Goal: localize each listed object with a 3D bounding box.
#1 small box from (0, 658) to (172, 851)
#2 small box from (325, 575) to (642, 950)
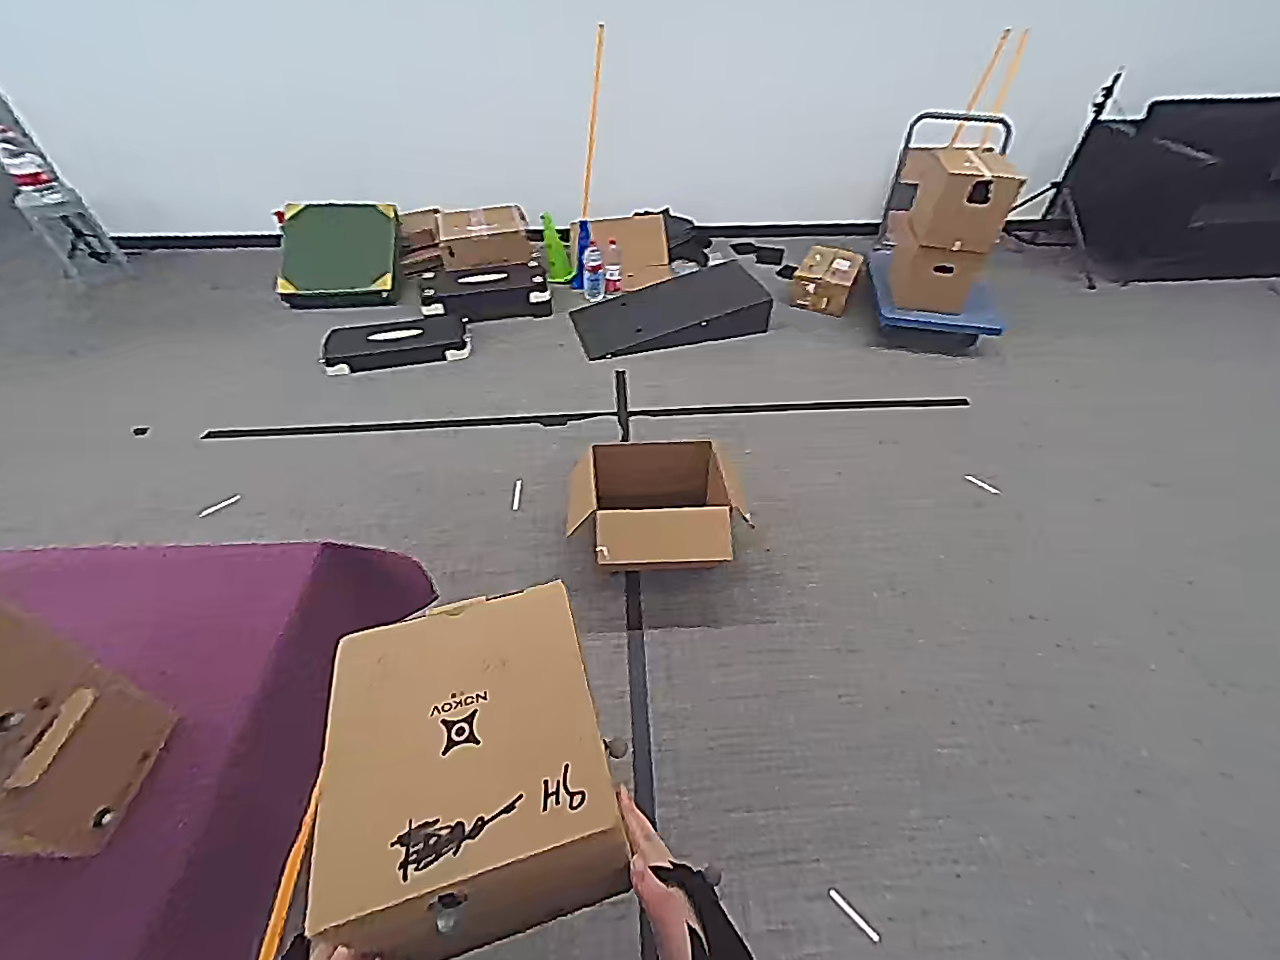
[{"bbox_3d":[-0.727,0.326,0.642,0.179,0.176,0.168,0,46,0],"label":"small box"},{"bbox_3d":[-0.100,0.204,0.402,0.168,0.176,0.179,-13,44,-9],"label":"small box"}]
